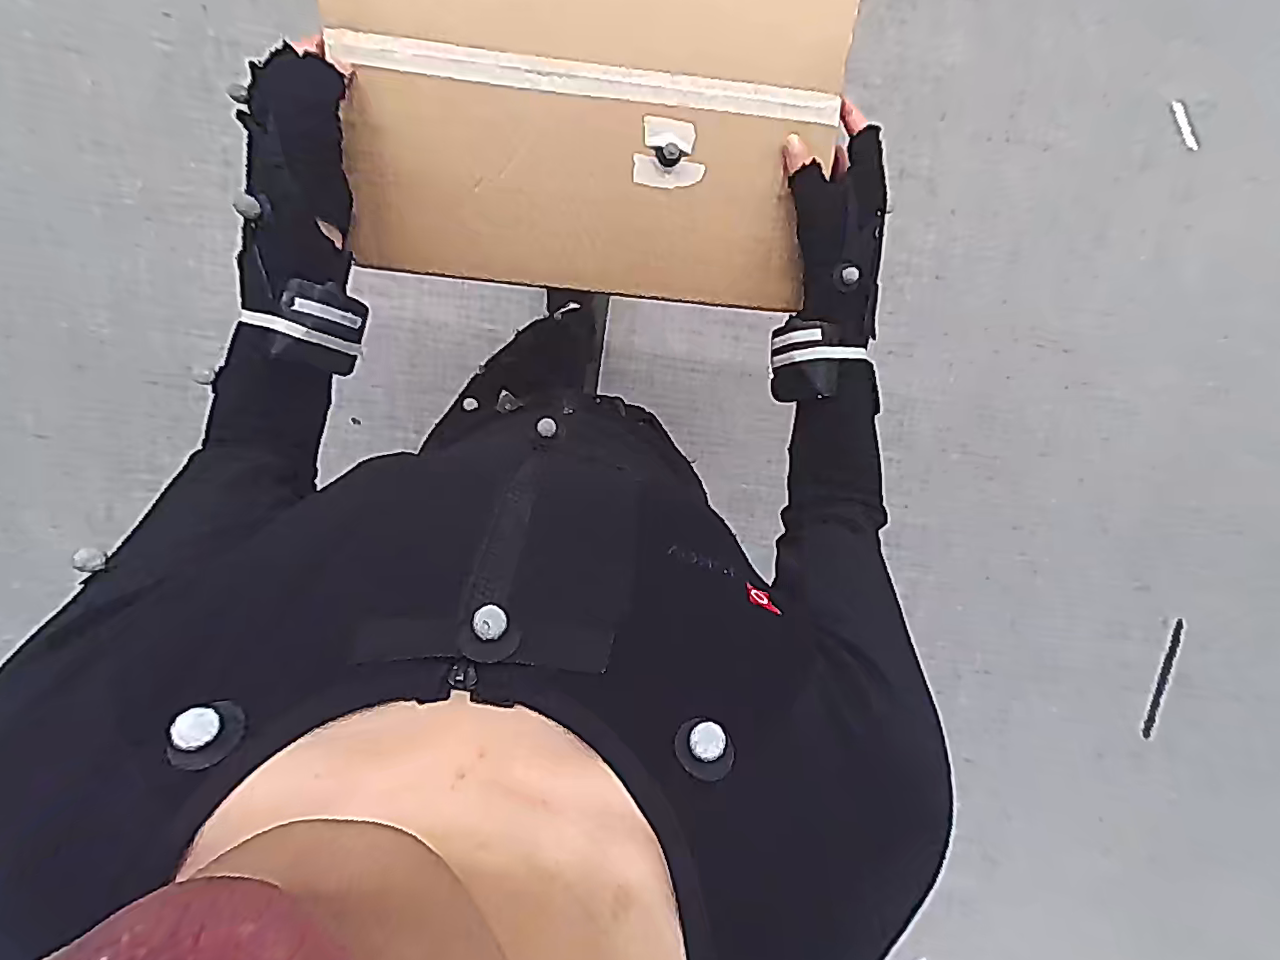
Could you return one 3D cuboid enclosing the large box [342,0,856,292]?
[{"bbox_3d":[-0.042,-0.377,0.573,0.408,0.320,0.320,4,110,-5],"label":"large box"}]
